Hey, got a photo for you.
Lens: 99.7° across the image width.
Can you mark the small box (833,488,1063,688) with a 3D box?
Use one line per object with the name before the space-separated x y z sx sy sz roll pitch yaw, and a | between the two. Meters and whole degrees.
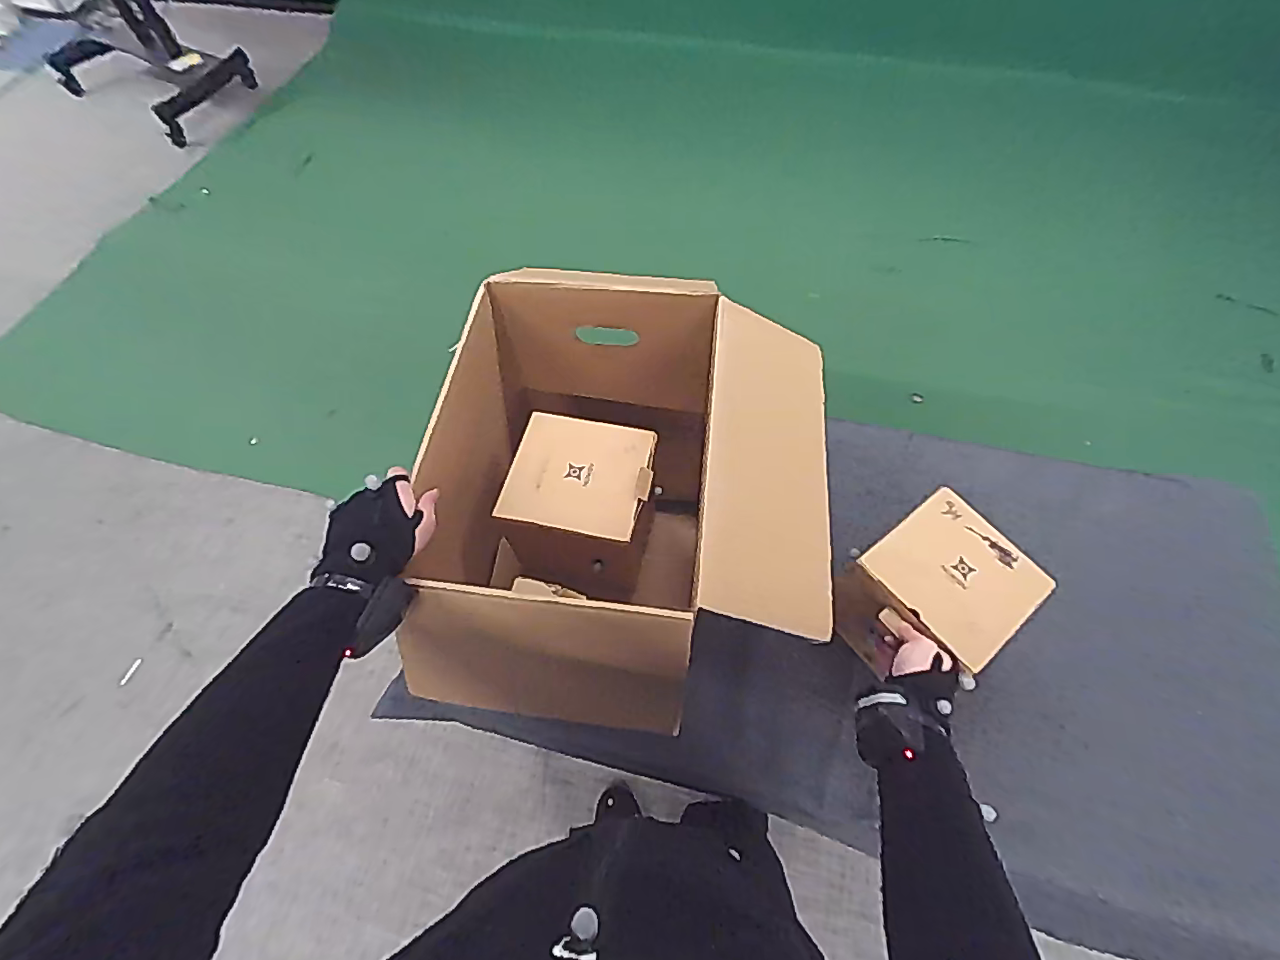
small box | 0.378 0.148 0.707 0.179 0.176 0.168 -30 65 -16
